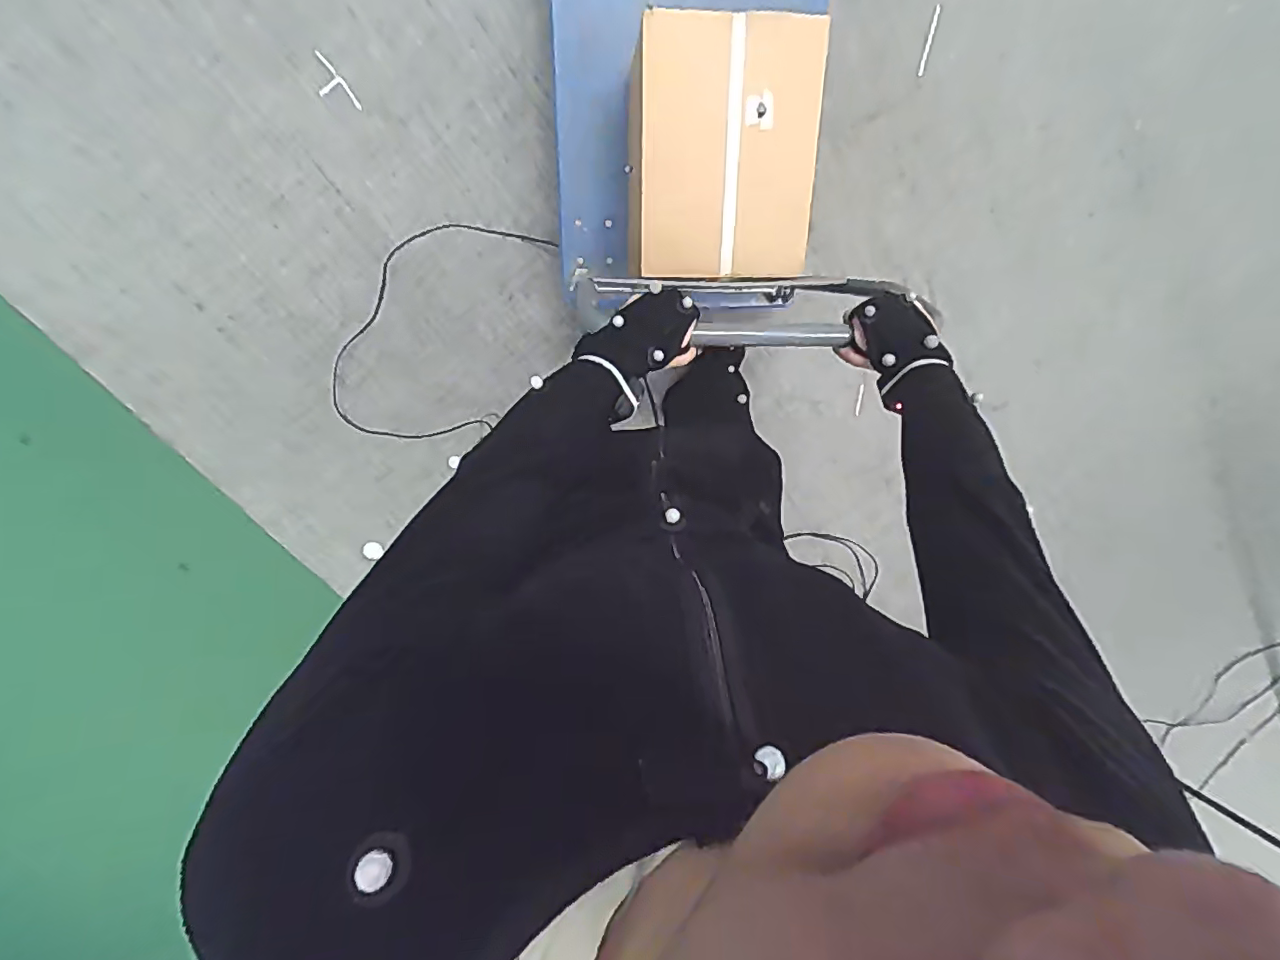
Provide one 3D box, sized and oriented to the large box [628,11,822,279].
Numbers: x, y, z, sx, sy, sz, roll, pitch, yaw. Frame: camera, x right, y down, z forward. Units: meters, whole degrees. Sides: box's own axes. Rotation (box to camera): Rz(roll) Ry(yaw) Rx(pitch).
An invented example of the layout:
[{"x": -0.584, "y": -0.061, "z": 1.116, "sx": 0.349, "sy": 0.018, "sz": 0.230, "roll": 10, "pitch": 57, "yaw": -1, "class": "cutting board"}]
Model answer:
[{"x": 0.140, "y": -0.623, "z": 1.086, "sx": 0.320, "sy": 0.320, "sz": 0.408, "roll": -2, "pitch": 110, "yaw": -6, "class": "large box"}]
